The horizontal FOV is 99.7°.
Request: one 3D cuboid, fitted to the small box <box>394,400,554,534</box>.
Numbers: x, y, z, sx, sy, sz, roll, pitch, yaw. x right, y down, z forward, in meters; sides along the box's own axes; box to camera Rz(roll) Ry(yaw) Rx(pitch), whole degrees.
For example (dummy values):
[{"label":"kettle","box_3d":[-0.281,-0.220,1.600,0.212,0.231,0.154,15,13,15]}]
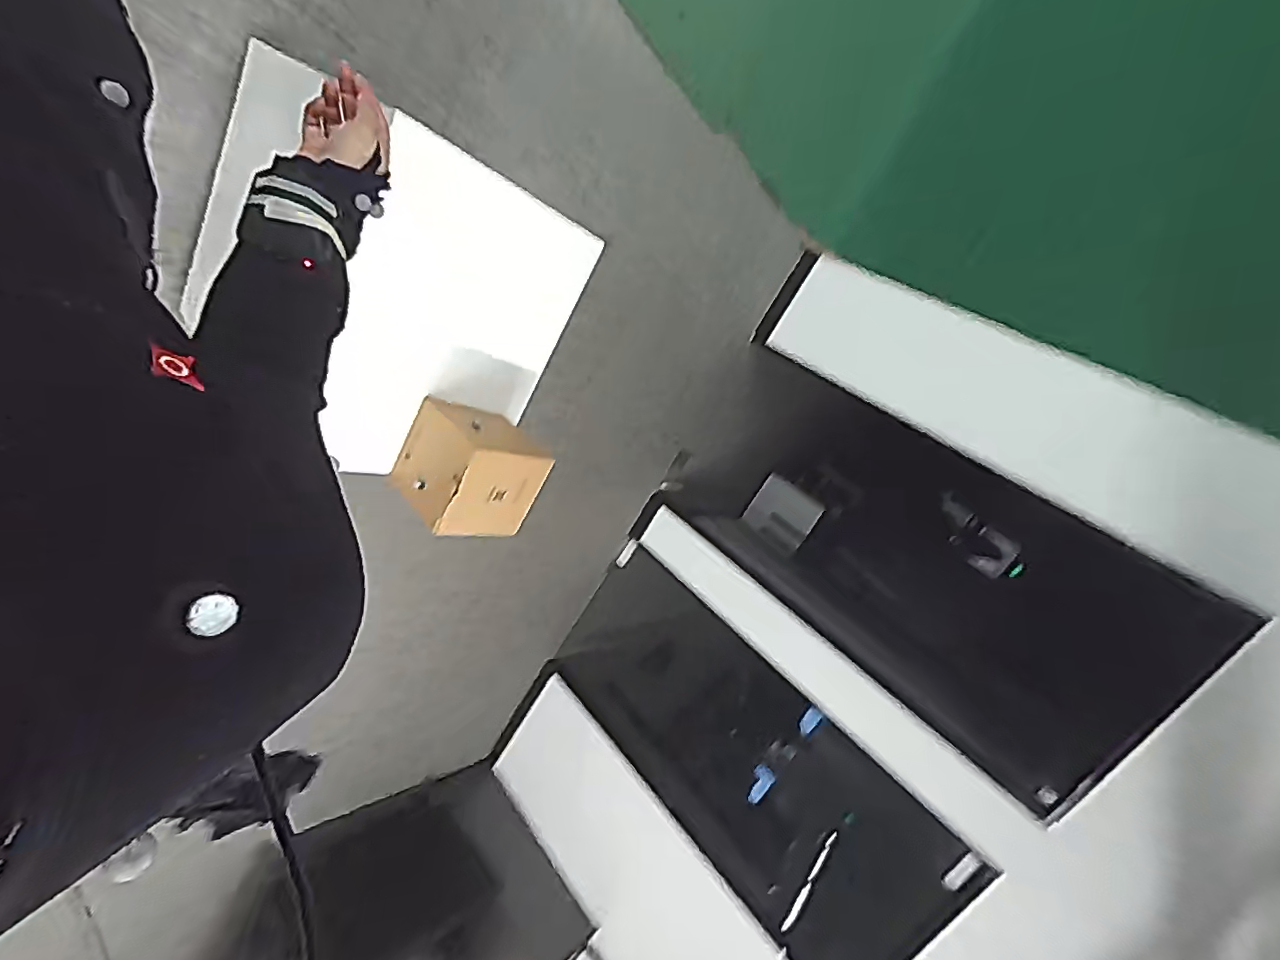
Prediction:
[{"label":"small box","box_3d":[-0.292,-0.021,0.940,0.179,0.176,0.168,8,118,-56]}]
